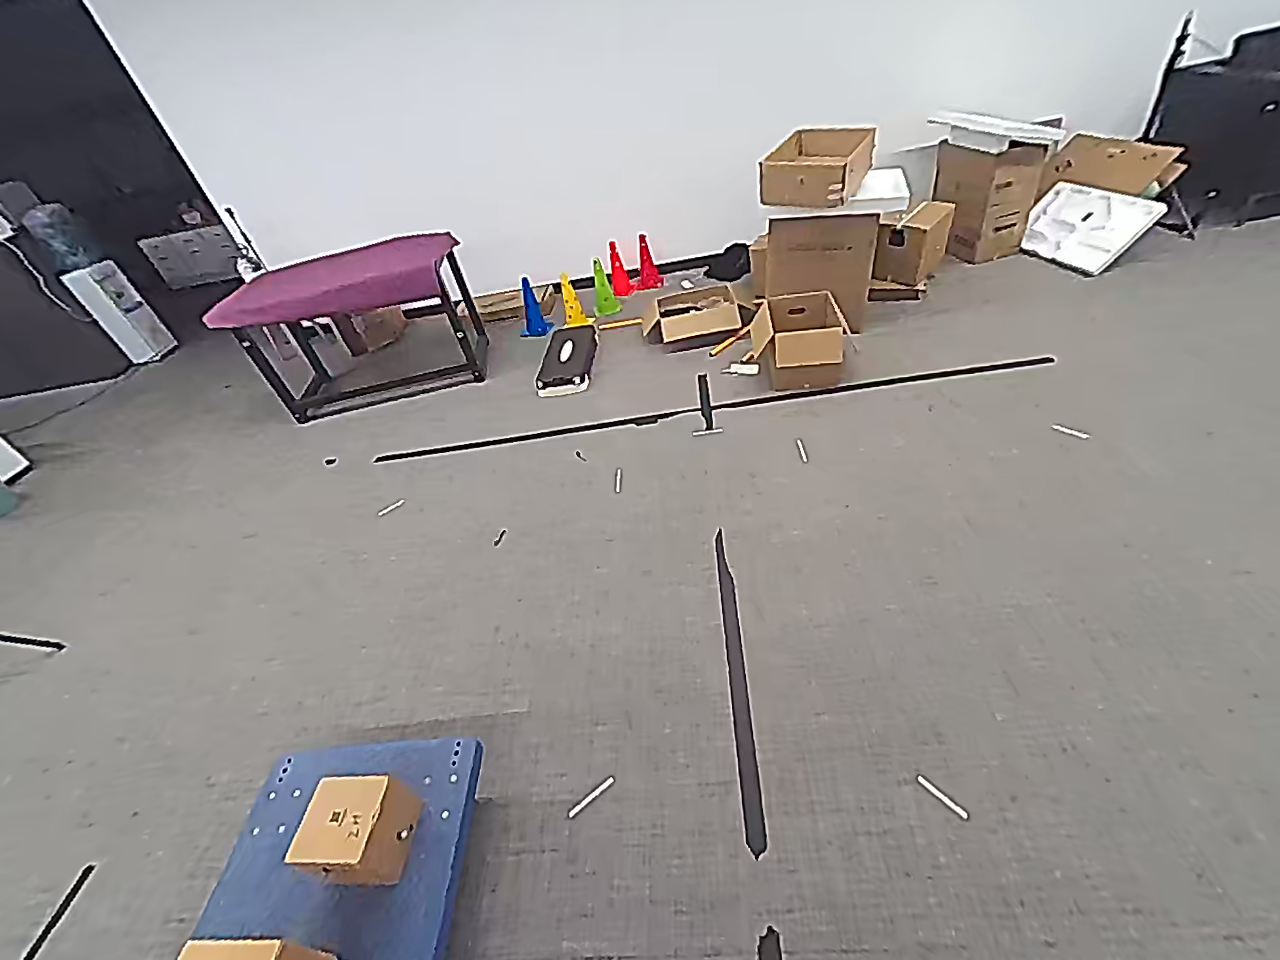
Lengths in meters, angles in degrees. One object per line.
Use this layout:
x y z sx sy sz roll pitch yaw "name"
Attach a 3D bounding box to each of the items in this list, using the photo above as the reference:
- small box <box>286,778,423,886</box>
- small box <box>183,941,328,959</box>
-0.619 0.780 1.196 0.179 0.176 0.168 -6 41 9 "small box"
-0.635 0.856 0.857 0.179 0.176 0.168 -6 40 6 "small box"
